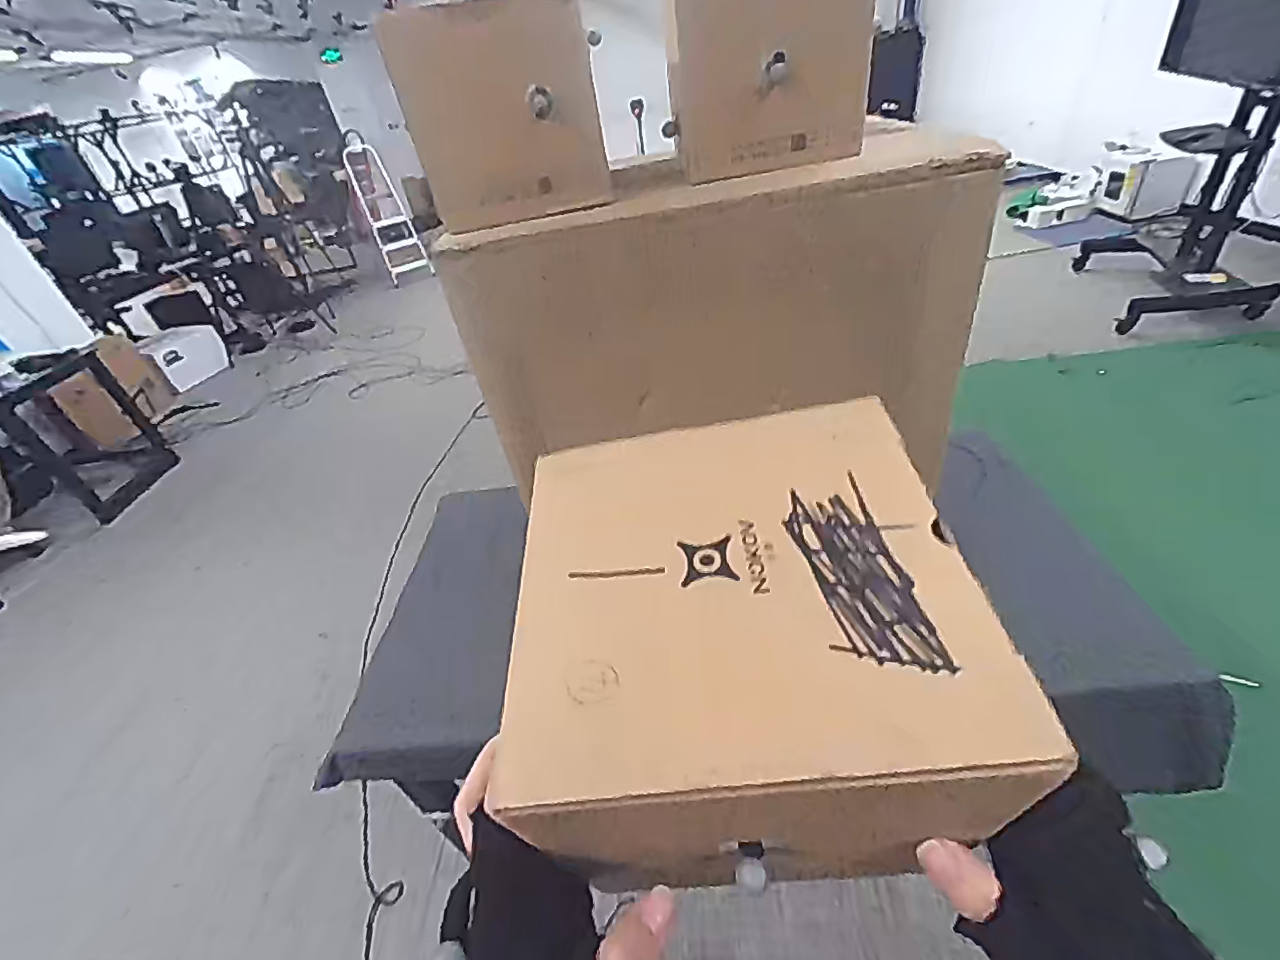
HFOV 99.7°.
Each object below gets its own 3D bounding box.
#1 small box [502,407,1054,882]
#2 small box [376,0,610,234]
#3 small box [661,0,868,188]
[{"bbox_3d":[0.046,0.089,0.279,0.179,0.176,0.168,-9,46,3],"label":"small box"},{"bbox_3d":[-0.124,-0.357,0.539,0.168,0.176,0.179,-9,38,2],"label":"small box"},{"bbox_3d":[0.114,-0.401,0.531,0.168,0.176,0.179,-7,39,4],"label":"small box"}]
